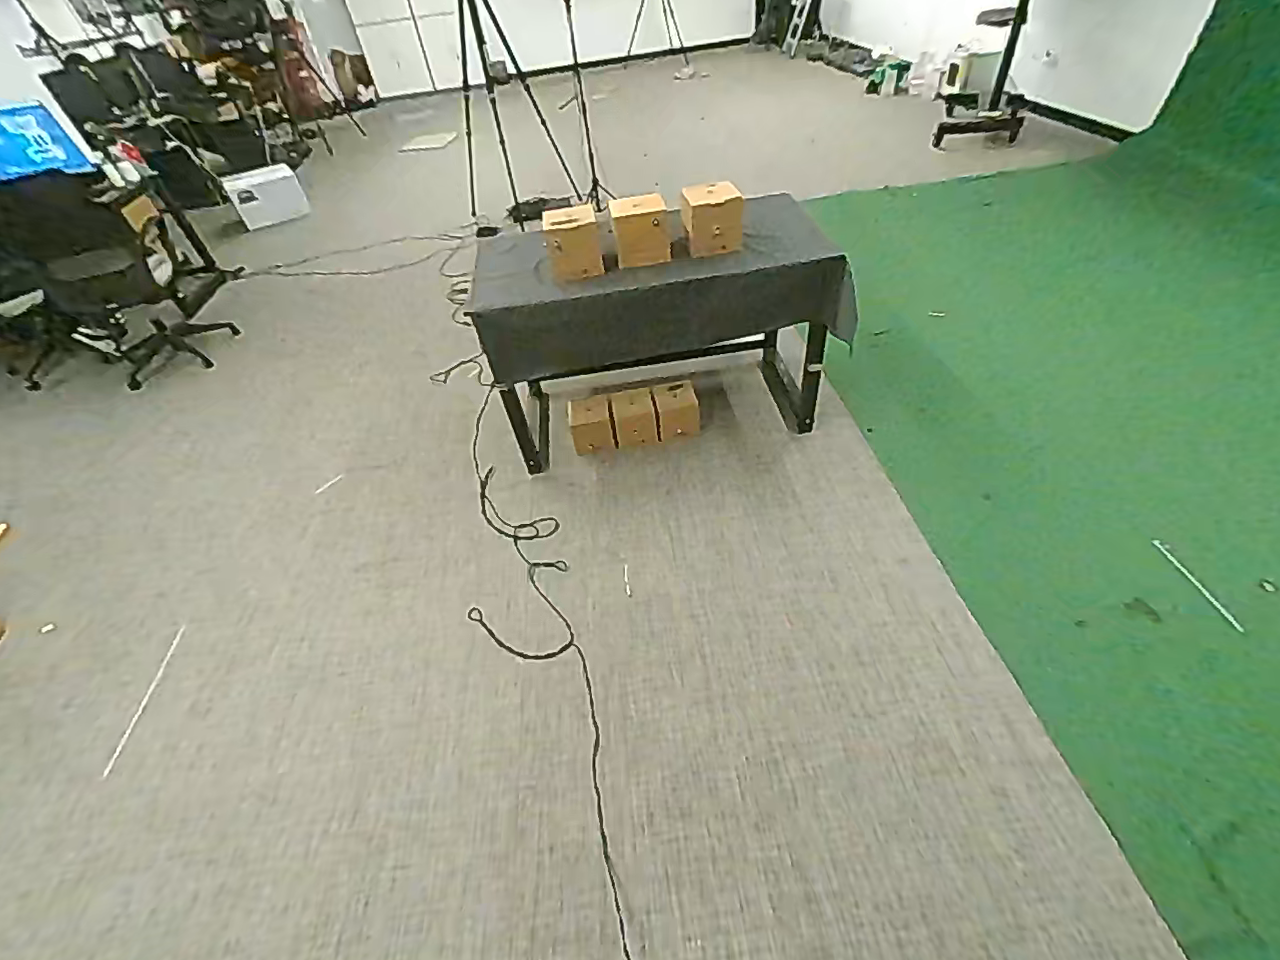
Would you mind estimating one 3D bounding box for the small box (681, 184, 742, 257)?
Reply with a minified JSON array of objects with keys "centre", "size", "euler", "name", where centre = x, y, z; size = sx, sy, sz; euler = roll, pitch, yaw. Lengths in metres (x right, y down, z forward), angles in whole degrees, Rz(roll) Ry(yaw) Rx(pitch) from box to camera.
[{"centre":[0.235,-0.852,1.786],"size":[0.168,0.176,0.179],"euler":[-10,45,-2],"name":"small box"}]
